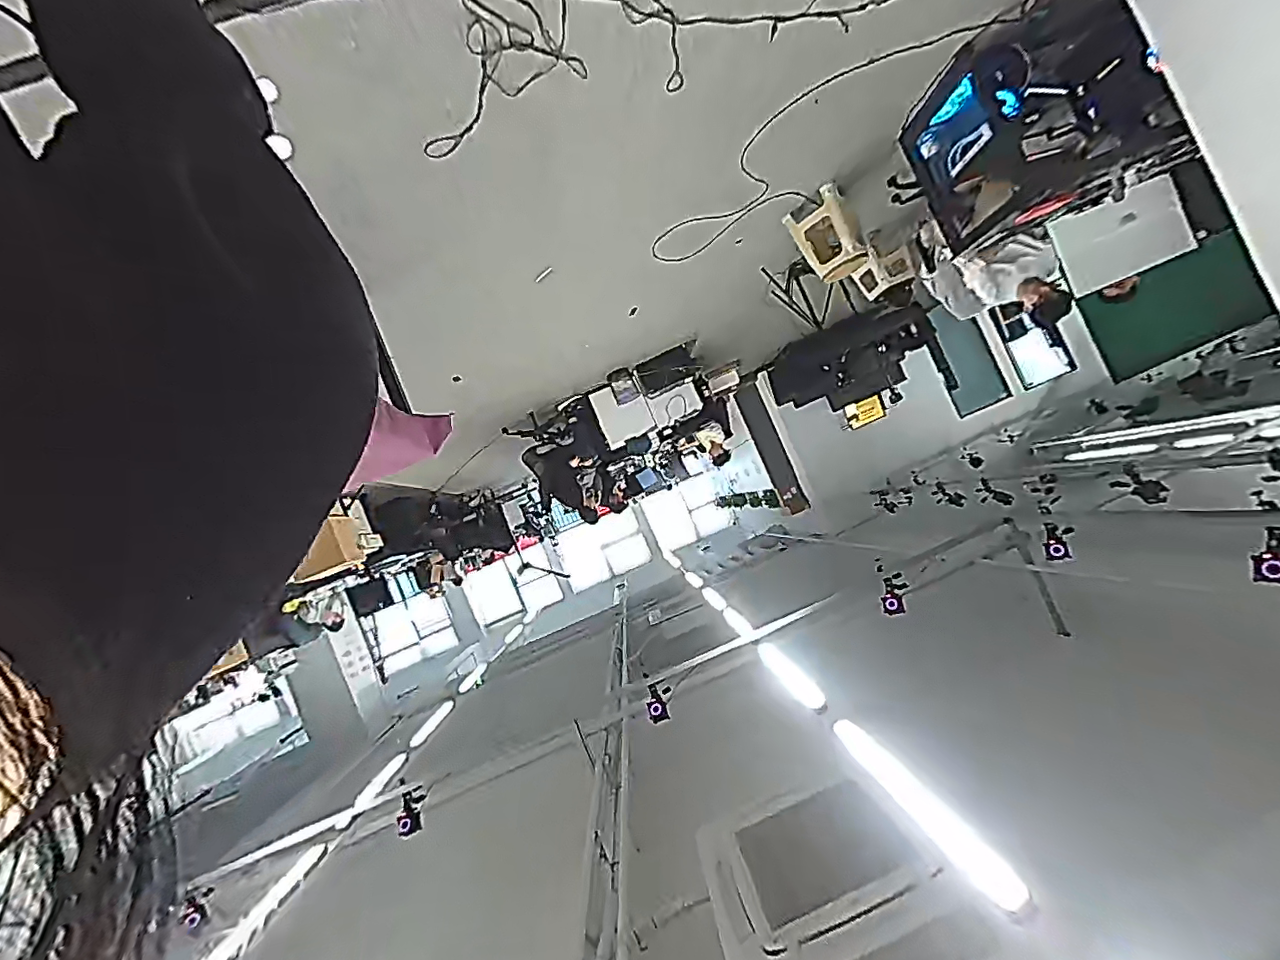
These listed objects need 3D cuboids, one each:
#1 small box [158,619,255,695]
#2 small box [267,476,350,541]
[{"bbox_3d":[-1.456,0.588,1.817,0.168,0.176,0.179,-24,178,-8],"label":"small box"},{"bbox_3d":[-1.150,0.099,1.872,0.179,0.176,0.168,-24,178,-7],"label":"small box"}]
